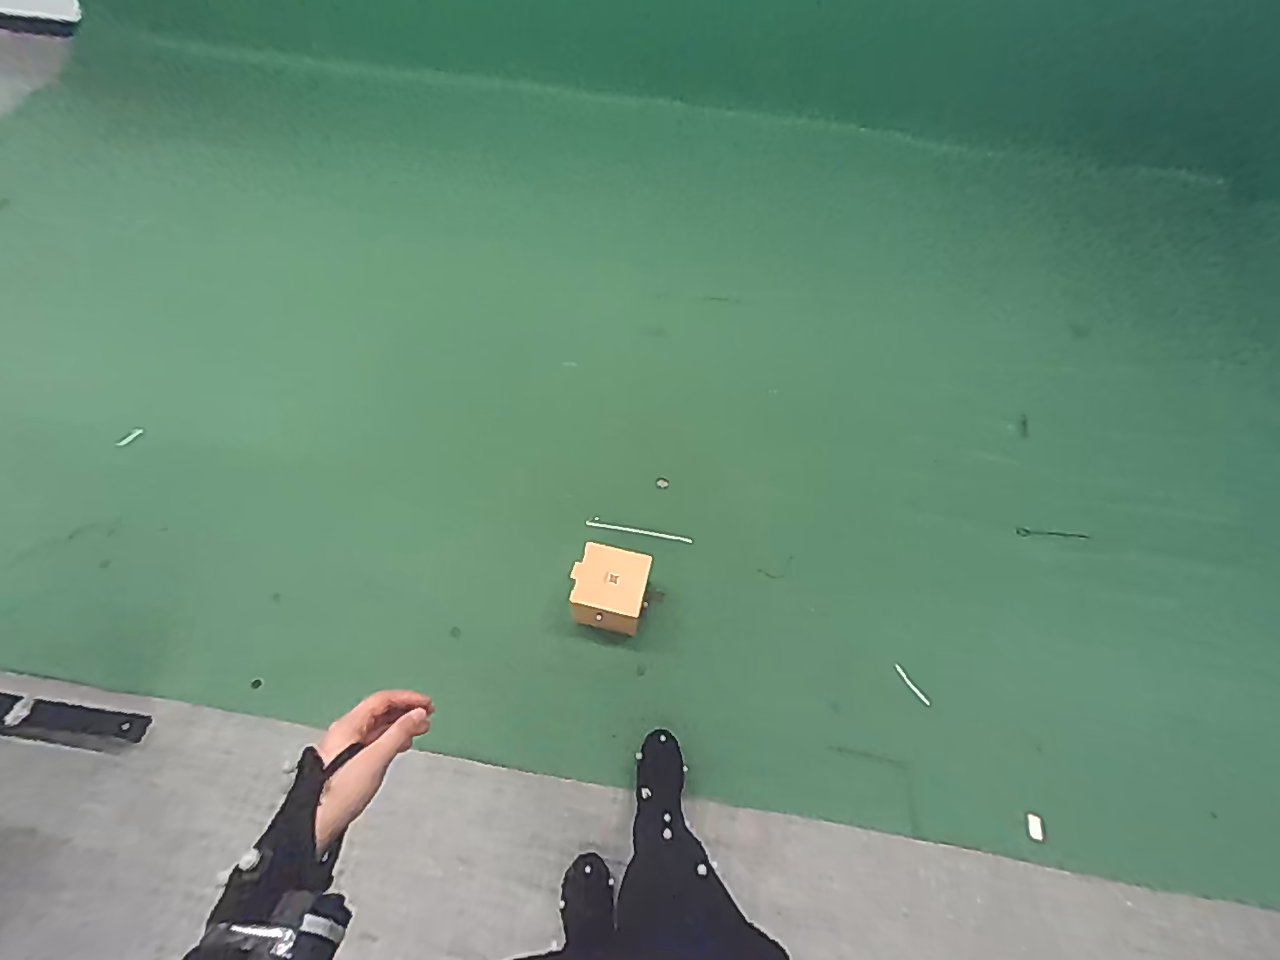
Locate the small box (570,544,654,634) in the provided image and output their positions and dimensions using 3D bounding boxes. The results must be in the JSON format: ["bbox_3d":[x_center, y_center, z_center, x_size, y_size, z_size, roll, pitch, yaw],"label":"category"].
[{"bbox_3d":[-0.070,0.289,1.405,0.179,0.176,0.168,12,60,5],"label":"small box"}]
